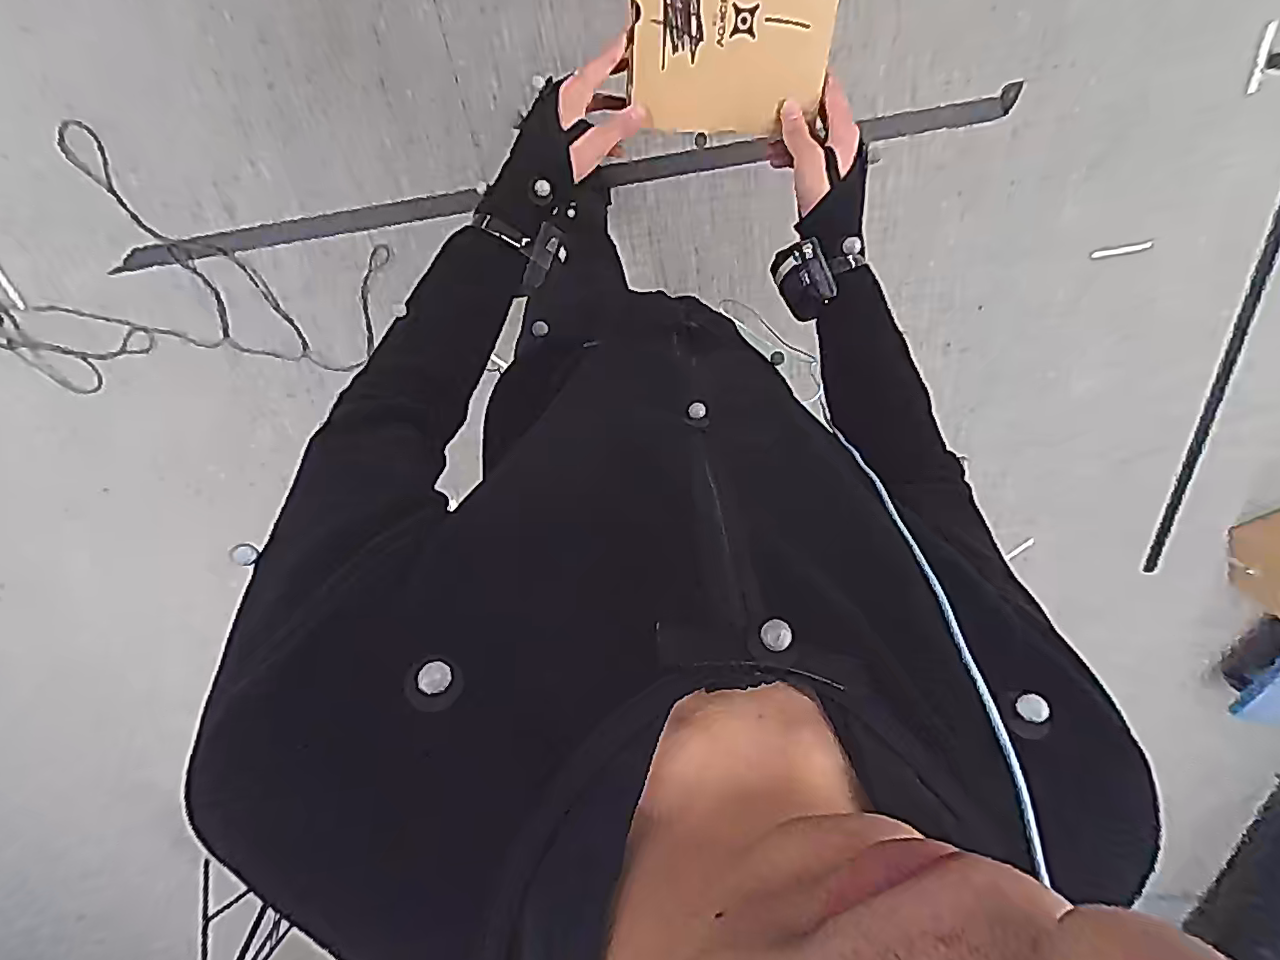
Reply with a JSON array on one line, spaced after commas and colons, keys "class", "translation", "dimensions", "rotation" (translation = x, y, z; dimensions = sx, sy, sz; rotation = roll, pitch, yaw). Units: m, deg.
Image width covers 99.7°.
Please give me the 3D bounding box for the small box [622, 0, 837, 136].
[{"class": "small box", "translation": [0.073, -0.432, 0.518], "dimensions": [0.179, 0.176, 0.168], "rotation": [0, 124, -5]}]
